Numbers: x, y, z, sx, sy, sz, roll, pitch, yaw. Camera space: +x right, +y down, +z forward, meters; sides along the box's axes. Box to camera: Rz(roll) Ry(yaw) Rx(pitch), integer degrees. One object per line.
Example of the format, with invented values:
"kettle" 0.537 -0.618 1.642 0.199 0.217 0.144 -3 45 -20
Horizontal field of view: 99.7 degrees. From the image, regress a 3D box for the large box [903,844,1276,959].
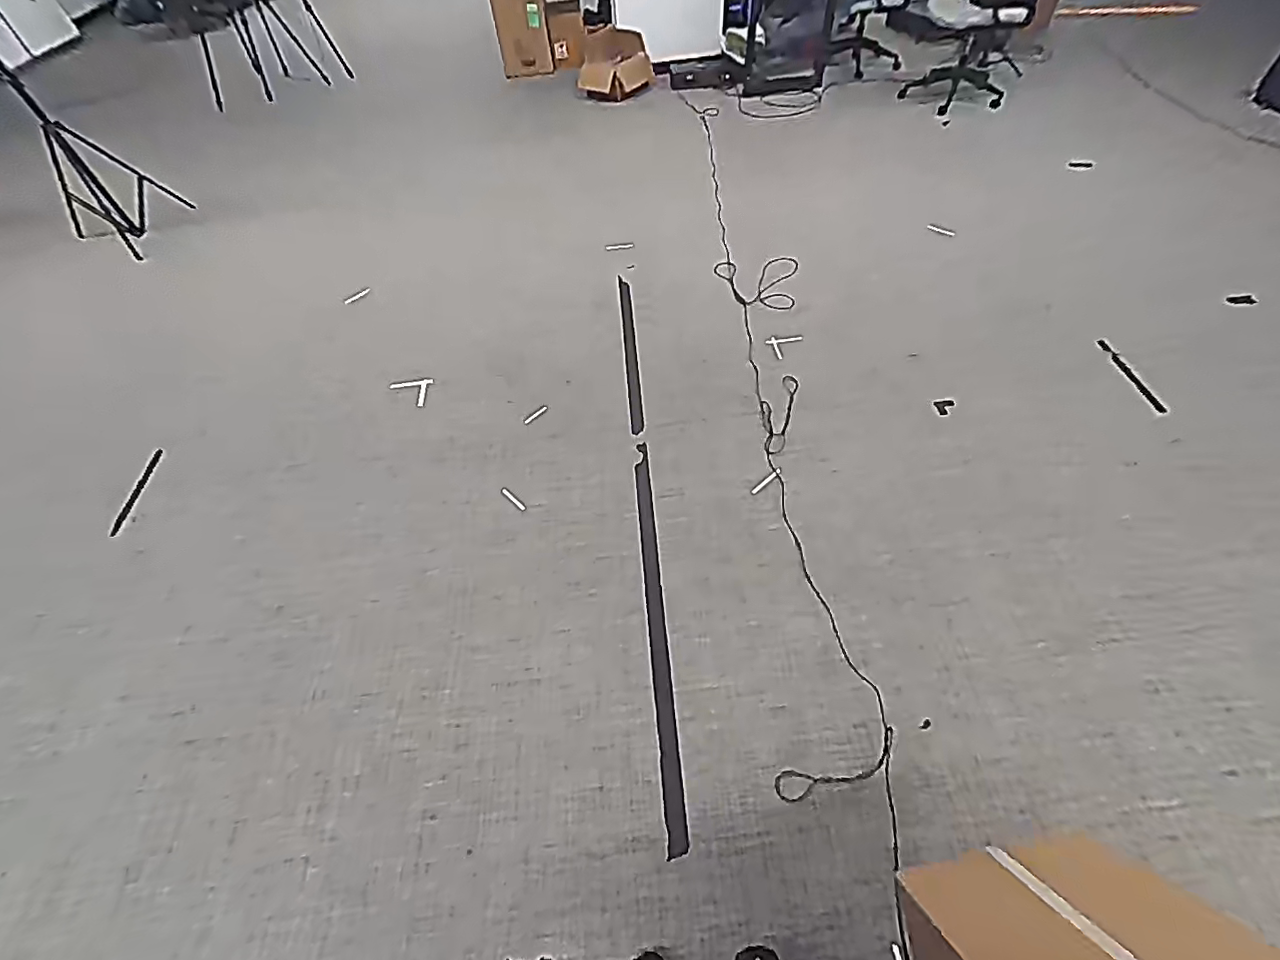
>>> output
"large box" 0.573 0.702 0.604 0.320 0.408 0.320 -11 84 -3
